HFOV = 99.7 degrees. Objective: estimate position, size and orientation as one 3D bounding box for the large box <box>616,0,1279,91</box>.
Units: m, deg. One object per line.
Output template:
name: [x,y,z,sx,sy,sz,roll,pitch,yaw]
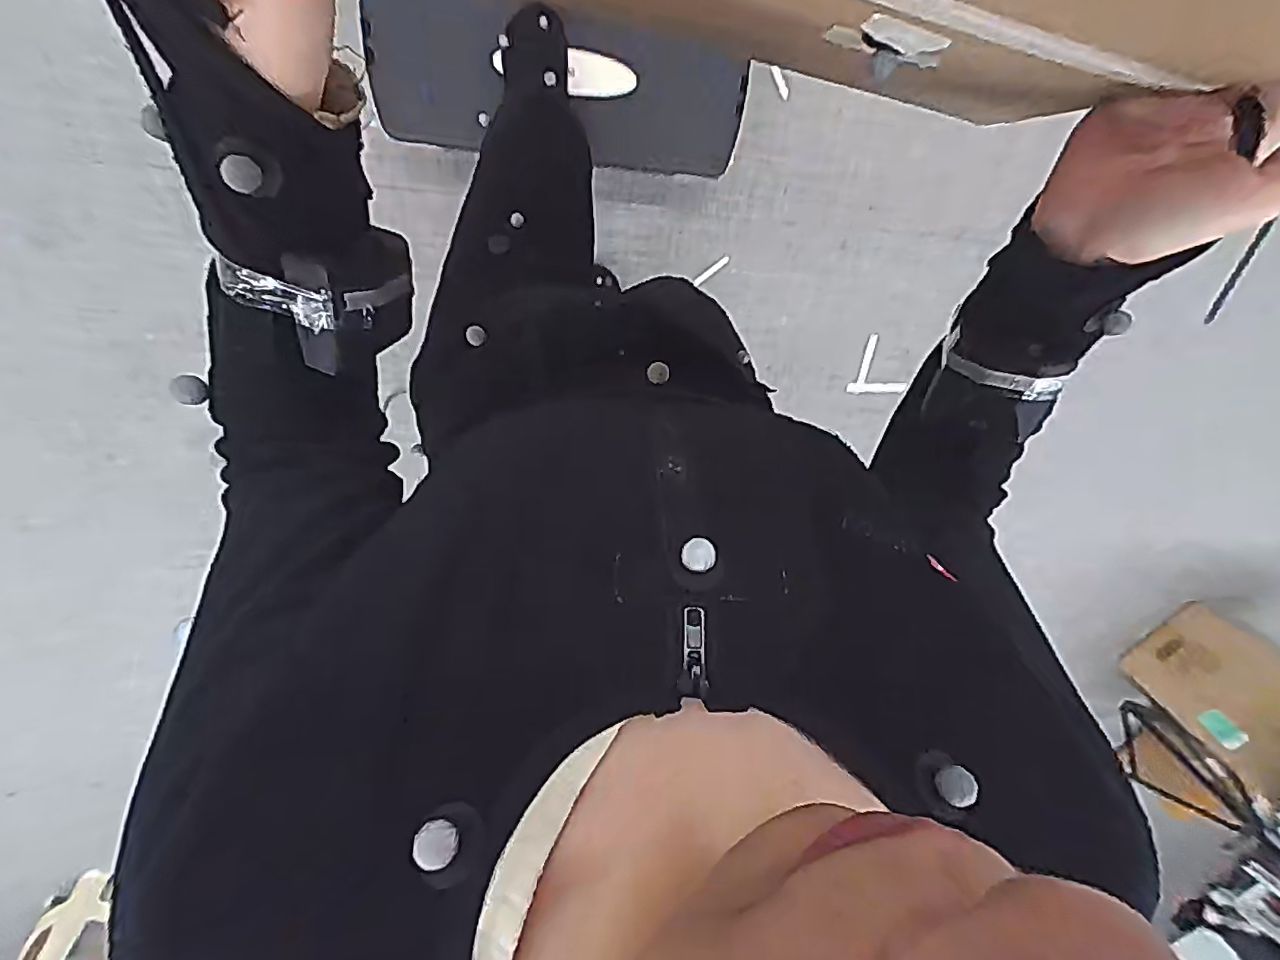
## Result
large box: [0.068,-0.330,0.114,0.408,0.320,0.320,4,118,-11]
